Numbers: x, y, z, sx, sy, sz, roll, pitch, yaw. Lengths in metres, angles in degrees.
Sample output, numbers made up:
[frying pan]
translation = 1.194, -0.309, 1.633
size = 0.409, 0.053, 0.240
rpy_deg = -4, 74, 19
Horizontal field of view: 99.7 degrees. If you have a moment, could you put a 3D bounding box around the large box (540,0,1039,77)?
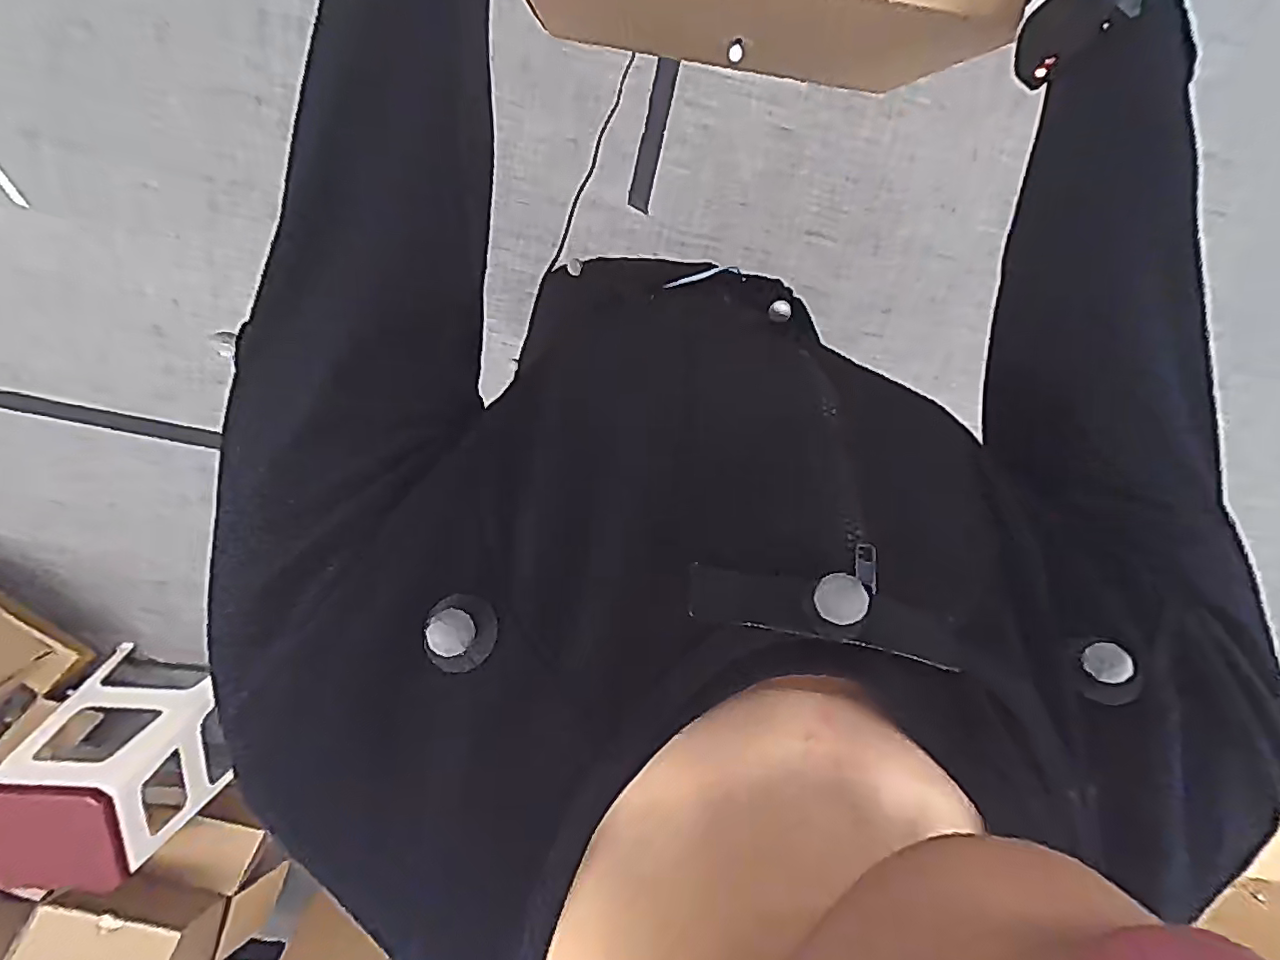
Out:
[large box]
translation = 0.113, -0.563, 0.439
size = 0.408, 0.320, 0.320
rpy_deg = 7, 117, -3
